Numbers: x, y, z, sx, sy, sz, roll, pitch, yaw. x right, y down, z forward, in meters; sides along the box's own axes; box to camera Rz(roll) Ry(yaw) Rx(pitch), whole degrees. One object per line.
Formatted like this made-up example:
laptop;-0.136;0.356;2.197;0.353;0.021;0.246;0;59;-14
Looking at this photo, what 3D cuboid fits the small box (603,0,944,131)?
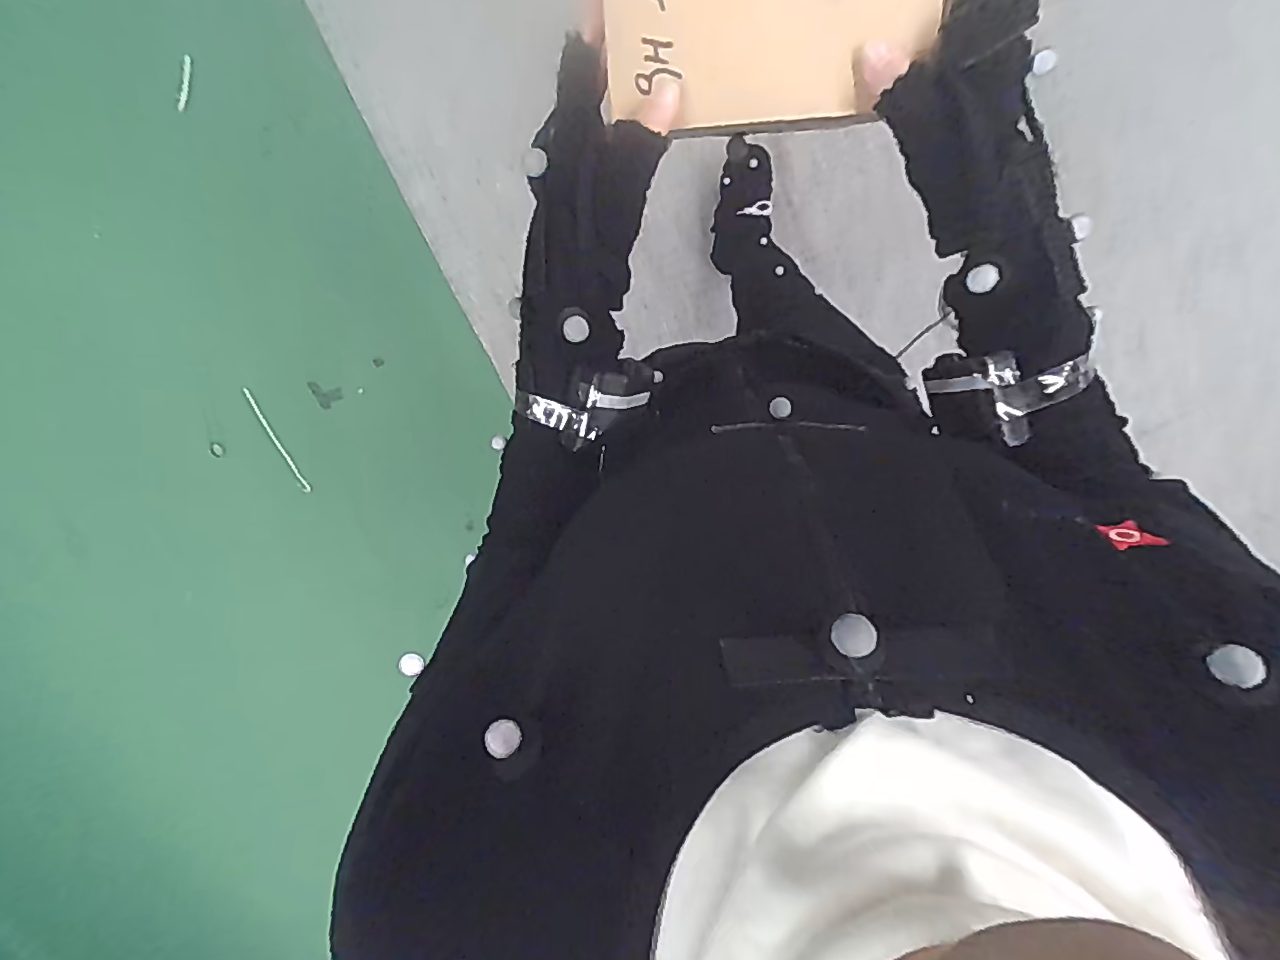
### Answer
small box;0.065;-0.314;0.324;0.179;0.176;0.168;-3;120;1
